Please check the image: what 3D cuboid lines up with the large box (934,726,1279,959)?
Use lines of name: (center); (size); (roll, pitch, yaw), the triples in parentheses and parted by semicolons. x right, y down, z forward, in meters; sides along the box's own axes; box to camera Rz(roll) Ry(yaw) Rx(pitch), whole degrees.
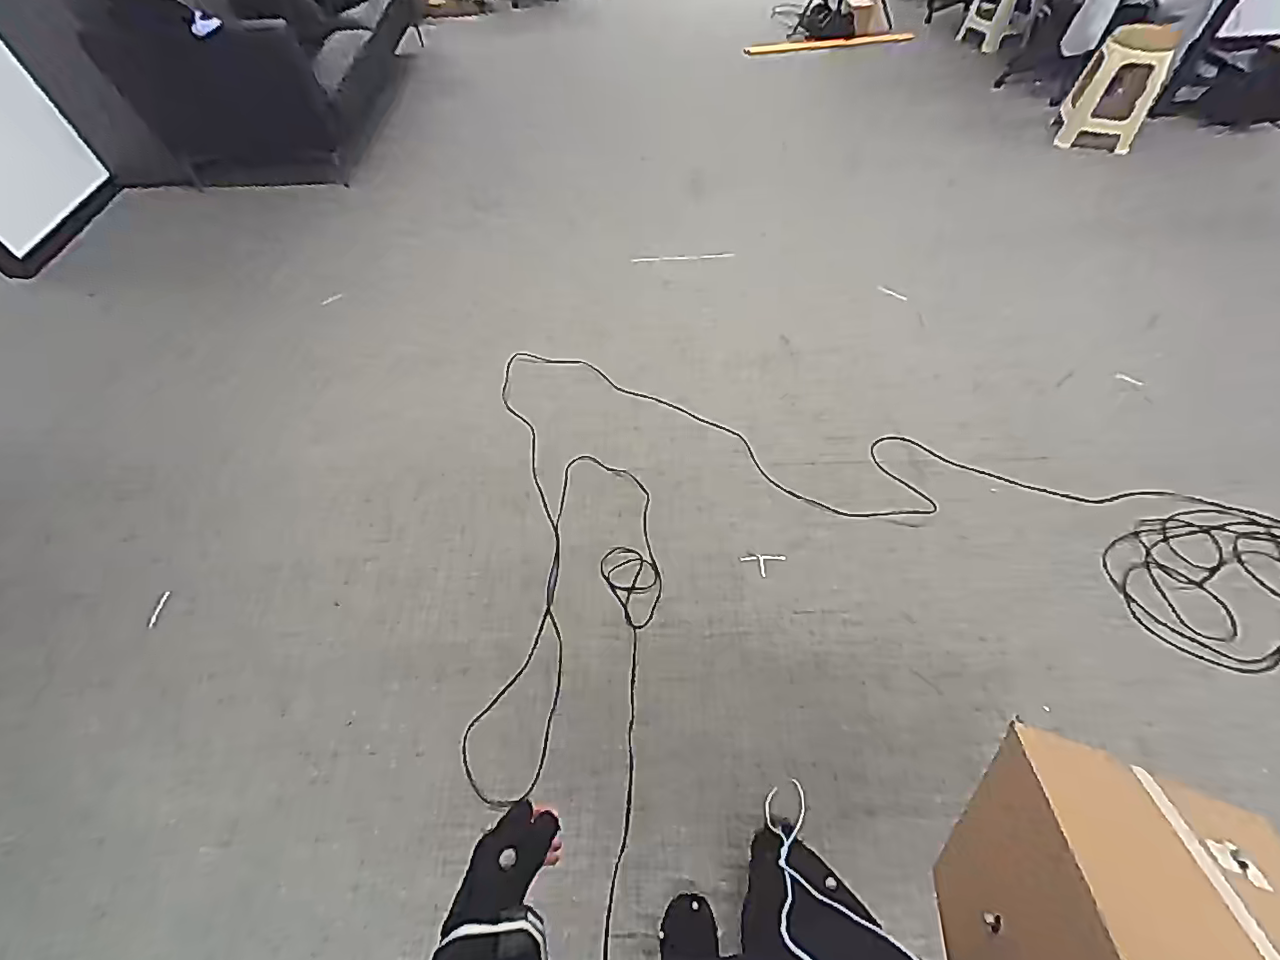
large box: (0.595, 0.599, 0.641); (0.320, 0.320, 0.408); (20, 19, 15)
